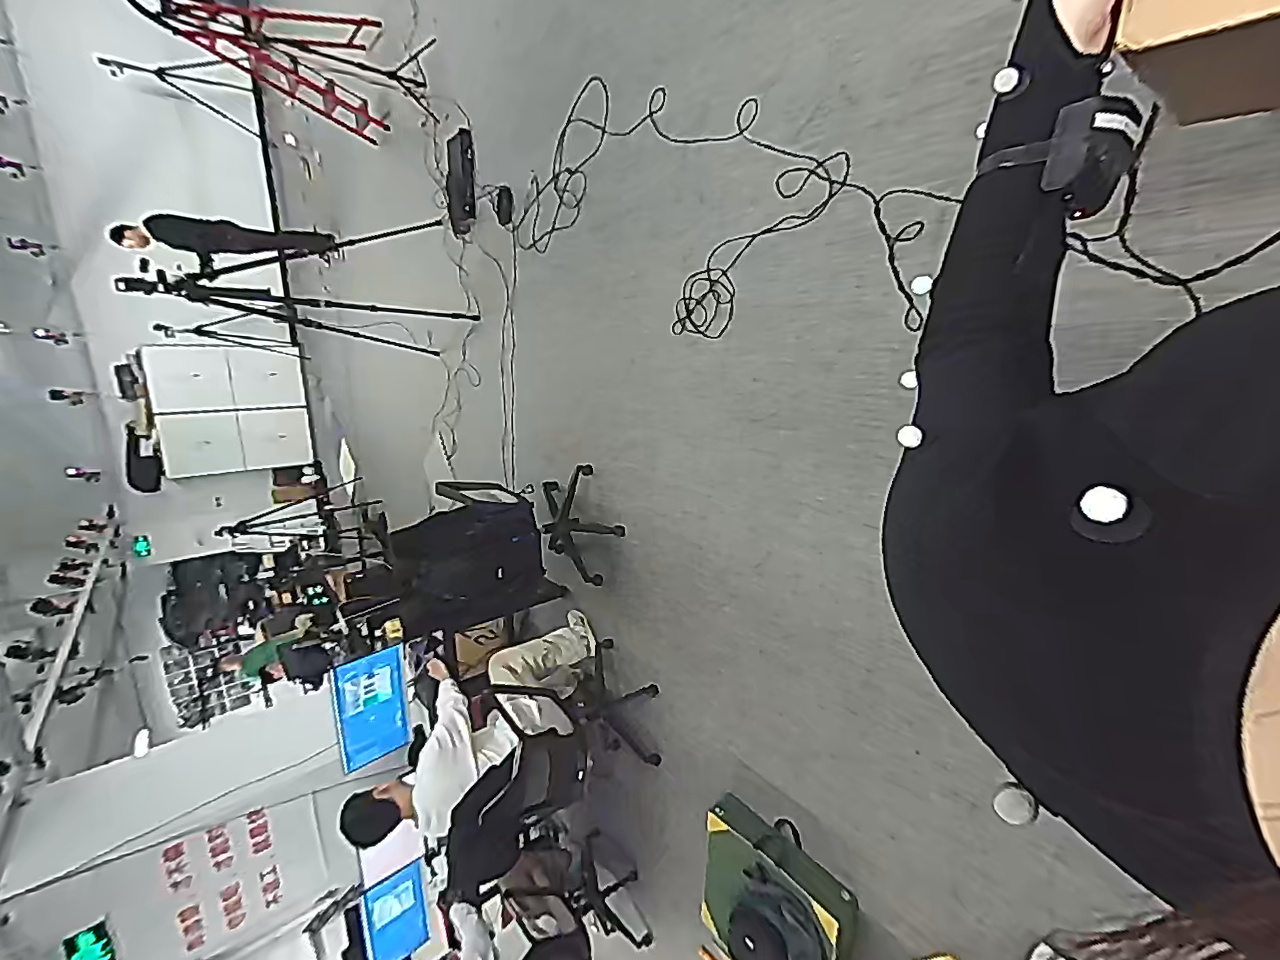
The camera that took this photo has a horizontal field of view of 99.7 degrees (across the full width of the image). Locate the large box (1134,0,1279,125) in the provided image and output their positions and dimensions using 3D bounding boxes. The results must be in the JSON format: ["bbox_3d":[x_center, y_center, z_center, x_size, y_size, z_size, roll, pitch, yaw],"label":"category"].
[{"bbox_3d":[0.576,-0.441,0.287,0.408,0.320,0.320,17,117,45],"label":"large box"}]
